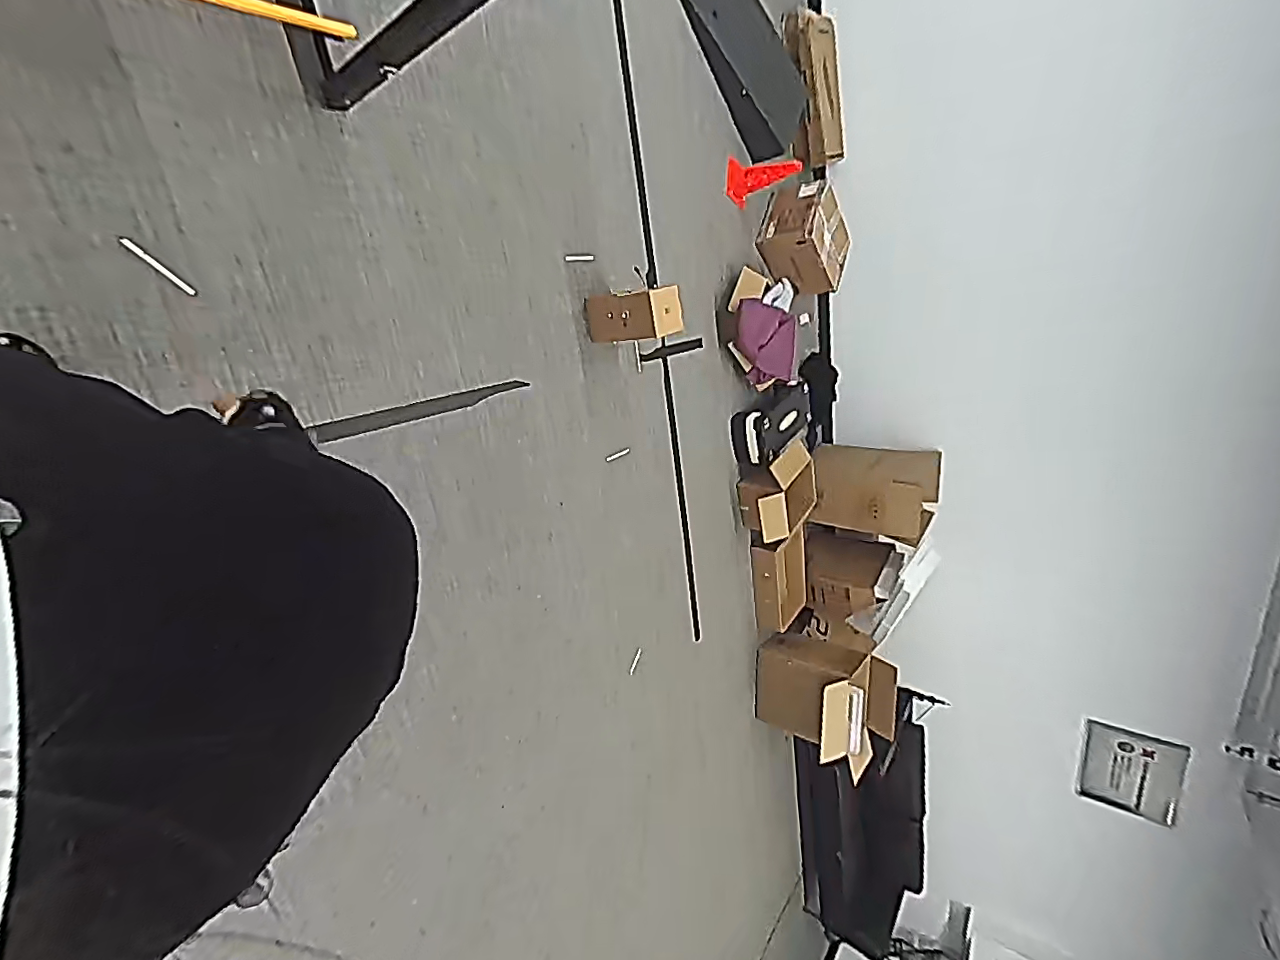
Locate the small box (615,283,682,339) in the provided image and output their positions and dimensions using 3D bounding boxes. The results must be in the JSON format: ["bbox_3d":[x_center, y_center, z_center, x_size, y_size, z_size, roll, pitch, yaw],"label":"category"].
[{"bbox_3d":[0.031,-0.629,2.017,0.179,0.176,0.168,-32,118,-43],"label":"small box"}]

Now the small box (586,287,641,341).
[{"bbox_3d":[-0.093,-0.650,2.119,0.168,0.176,0.179,-30,119,-45],"label":"small box"}]
